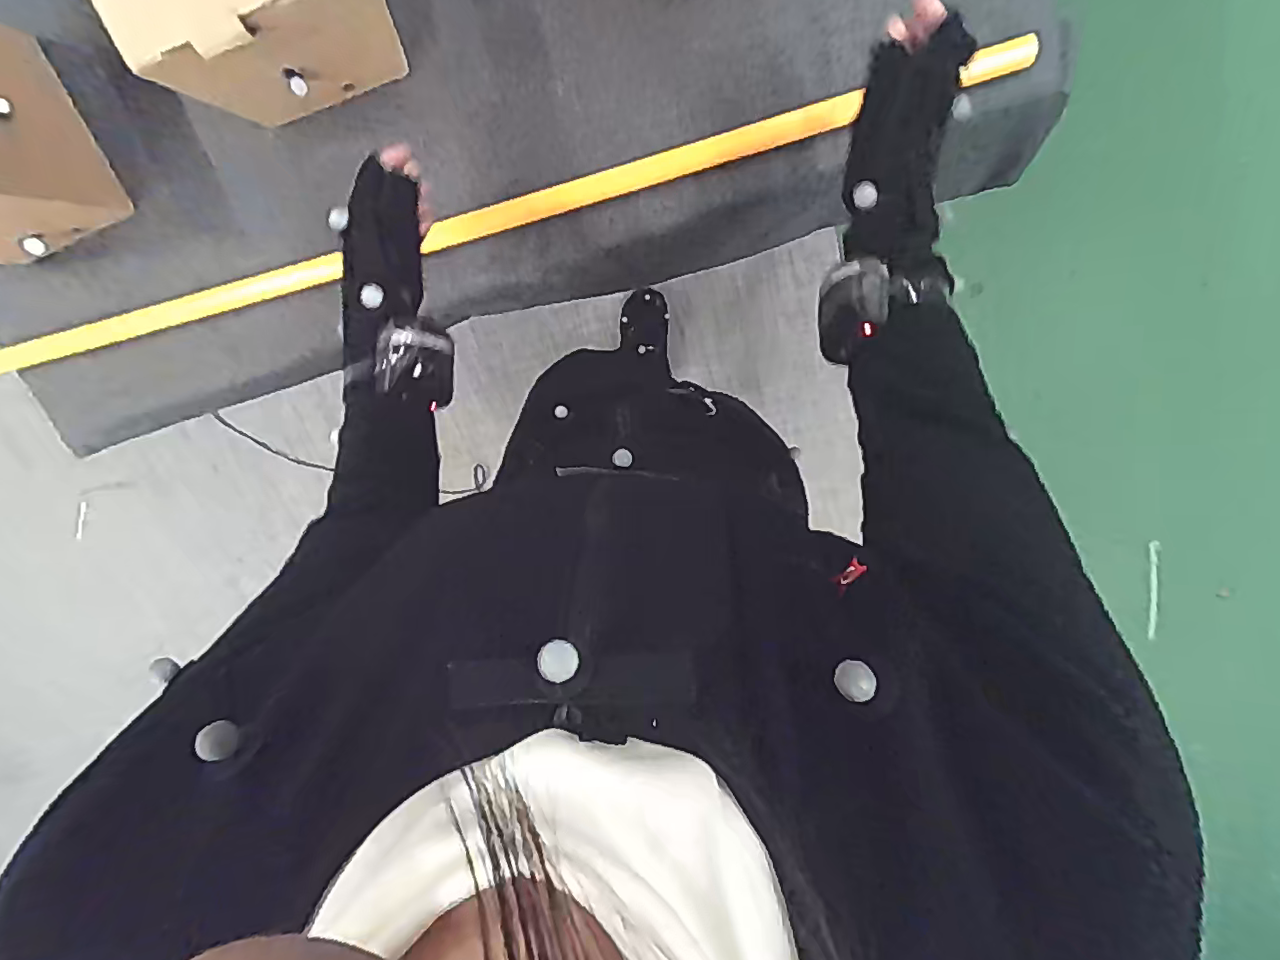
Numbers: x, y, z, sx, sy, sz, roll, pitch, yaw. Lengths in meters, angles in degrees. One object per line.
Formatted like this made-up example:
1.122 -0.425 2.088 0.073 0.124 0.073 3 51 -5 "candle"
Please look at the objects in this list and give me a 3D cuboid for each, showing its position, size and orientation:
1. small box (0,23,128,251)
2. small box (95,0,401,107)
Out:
-0.669 -0.334 0.512 0.168 0.176 0.179 -17 109 9 "small box"
-0.340 -0.449 0.455 0.168 0.176 0.179 -17 107 11 "small box"
